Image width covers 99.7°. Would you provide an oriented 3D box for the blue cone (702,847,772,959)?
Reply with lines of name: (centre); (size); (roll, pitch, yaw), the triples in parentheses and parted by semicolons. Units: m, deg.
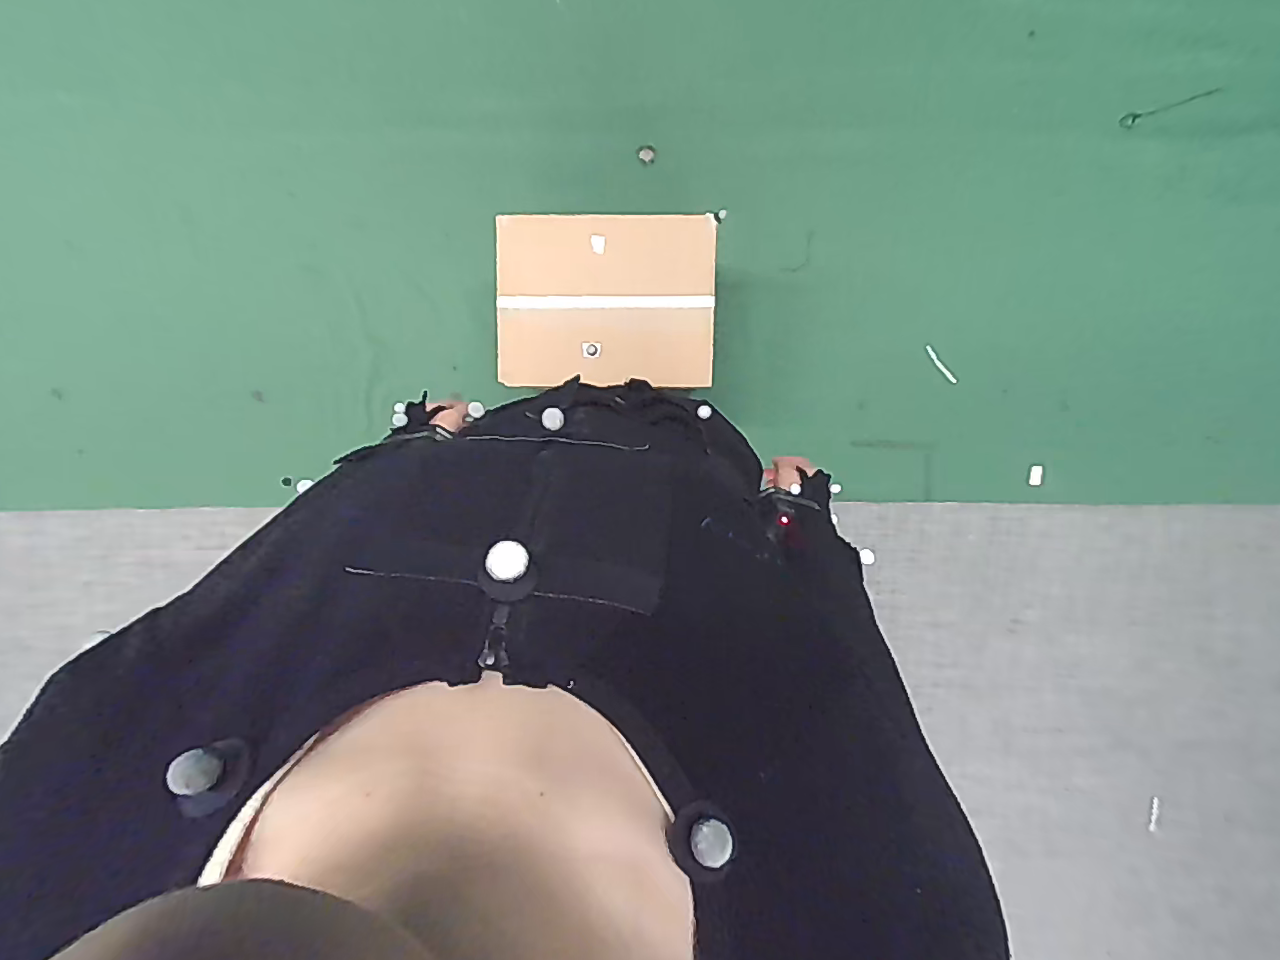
blue cone: (0.265, 1.118, 1.322); (0.192, 0.380, 0.193); (0, 98, 0)
